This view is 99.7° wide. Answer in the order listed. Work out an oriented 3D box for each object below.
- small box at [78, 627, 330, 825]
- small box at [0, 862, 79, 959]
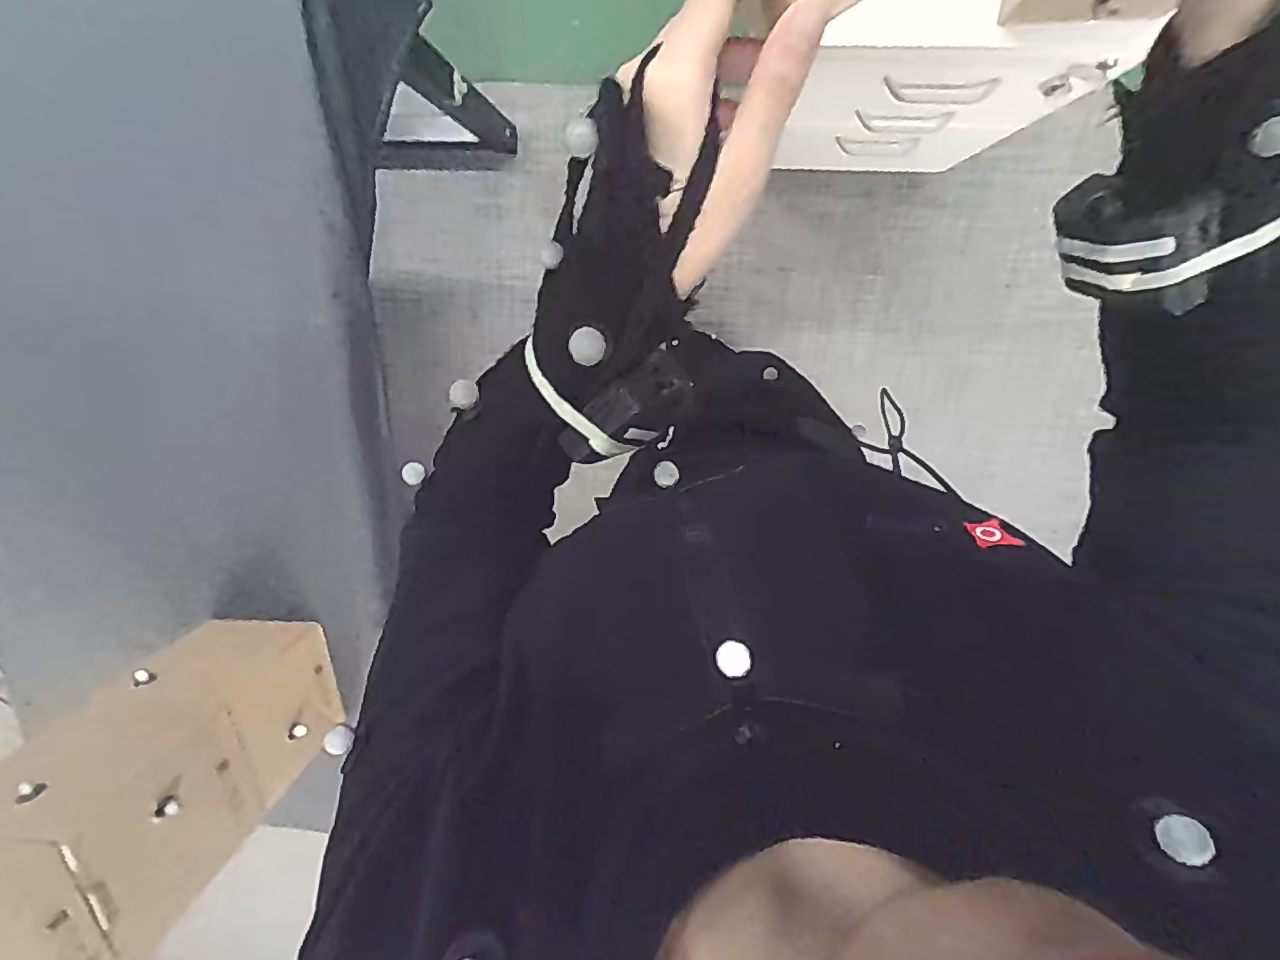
[{"bbox_3d":[-0.531,0.304,0.695,0.179,0.176,0.168,-1,107,6],"label":"small box"},{"bbox_3d":[-0.562,0.403,0.384,0.179,0.176,0.168,-3,106,8],"label":"small box"}]
